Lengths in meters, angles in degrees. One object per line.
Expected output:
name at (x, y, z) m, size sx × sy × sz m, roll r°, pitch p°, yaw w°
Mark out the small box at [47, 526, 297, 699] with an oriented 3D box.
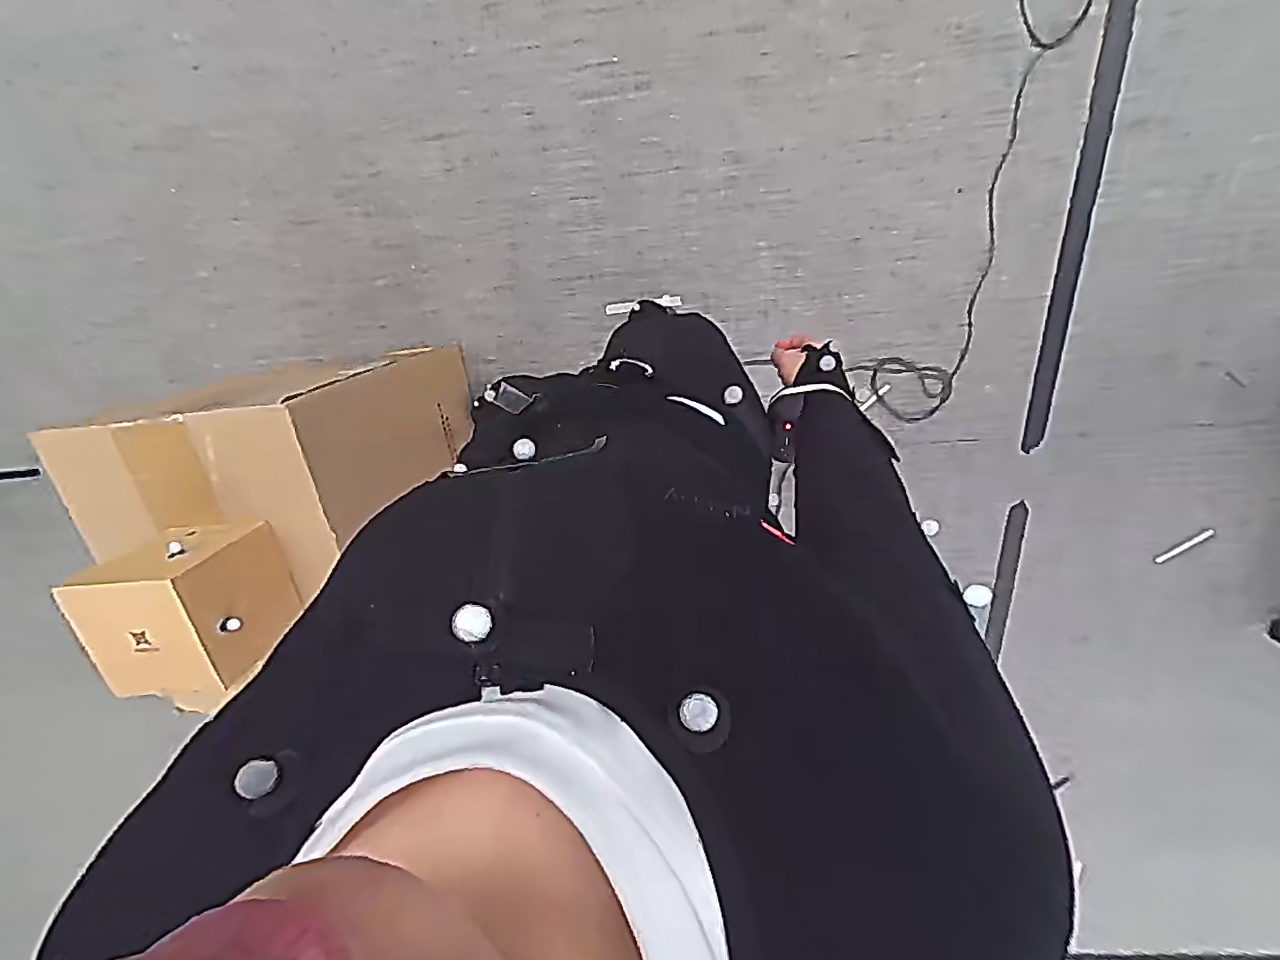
small box at (-0.628, 0.174, 0.754) m, size 0.168 × 0.176 × 0.179 m, roll -5°, pitch 112°, yaw 5°
